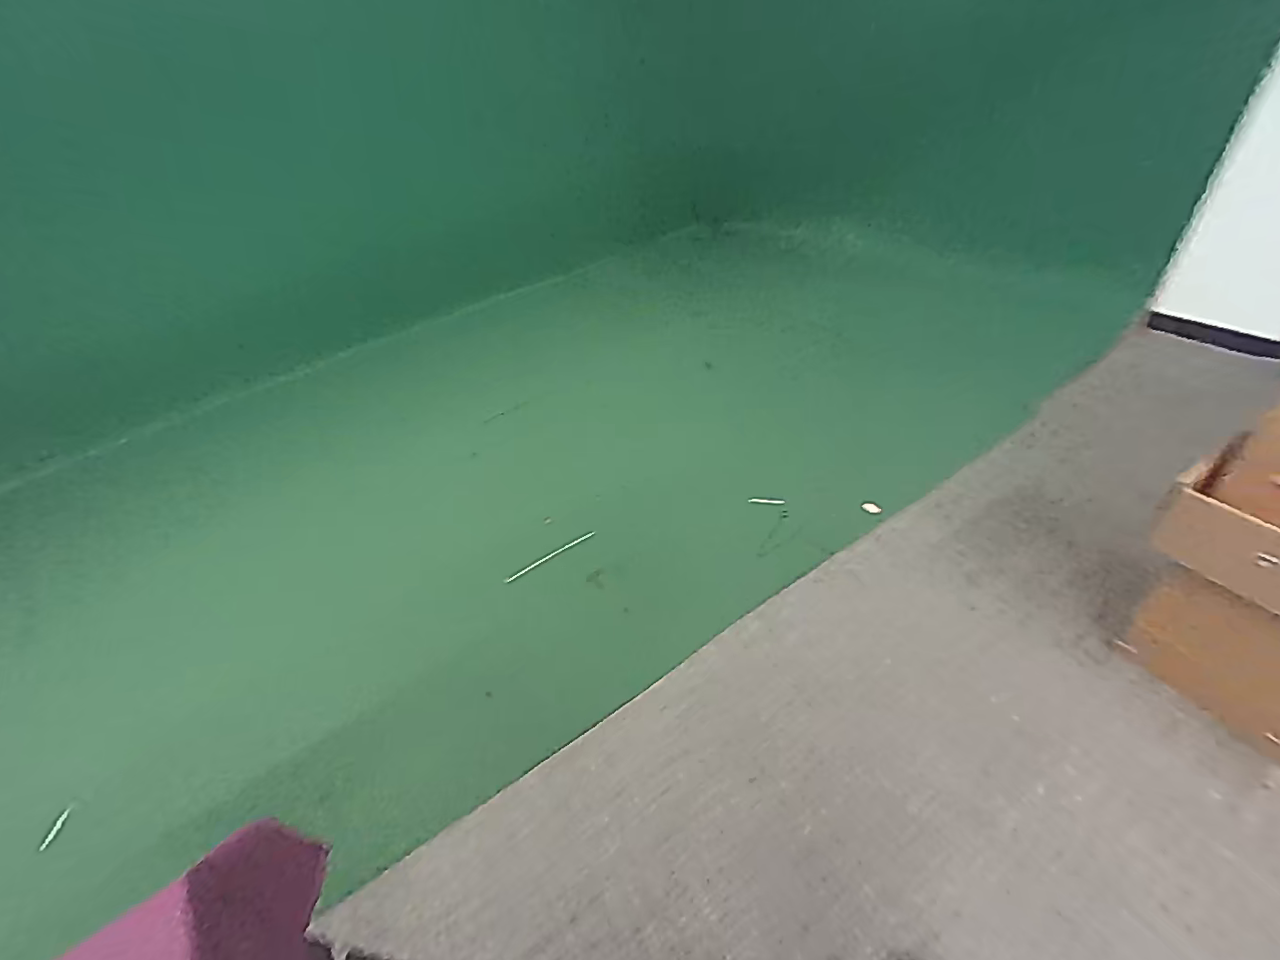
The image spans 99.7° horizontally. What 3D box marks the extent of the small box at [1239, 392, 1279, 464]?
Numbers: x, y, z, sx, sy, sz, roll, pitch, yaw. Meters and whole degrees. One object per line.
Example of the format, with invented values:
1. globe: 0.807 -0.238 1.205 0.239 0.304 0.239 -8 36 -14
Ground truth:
1. small box: 1.309 -0.114 1.010 0.168 0.176 0.179 -29 45 -19
